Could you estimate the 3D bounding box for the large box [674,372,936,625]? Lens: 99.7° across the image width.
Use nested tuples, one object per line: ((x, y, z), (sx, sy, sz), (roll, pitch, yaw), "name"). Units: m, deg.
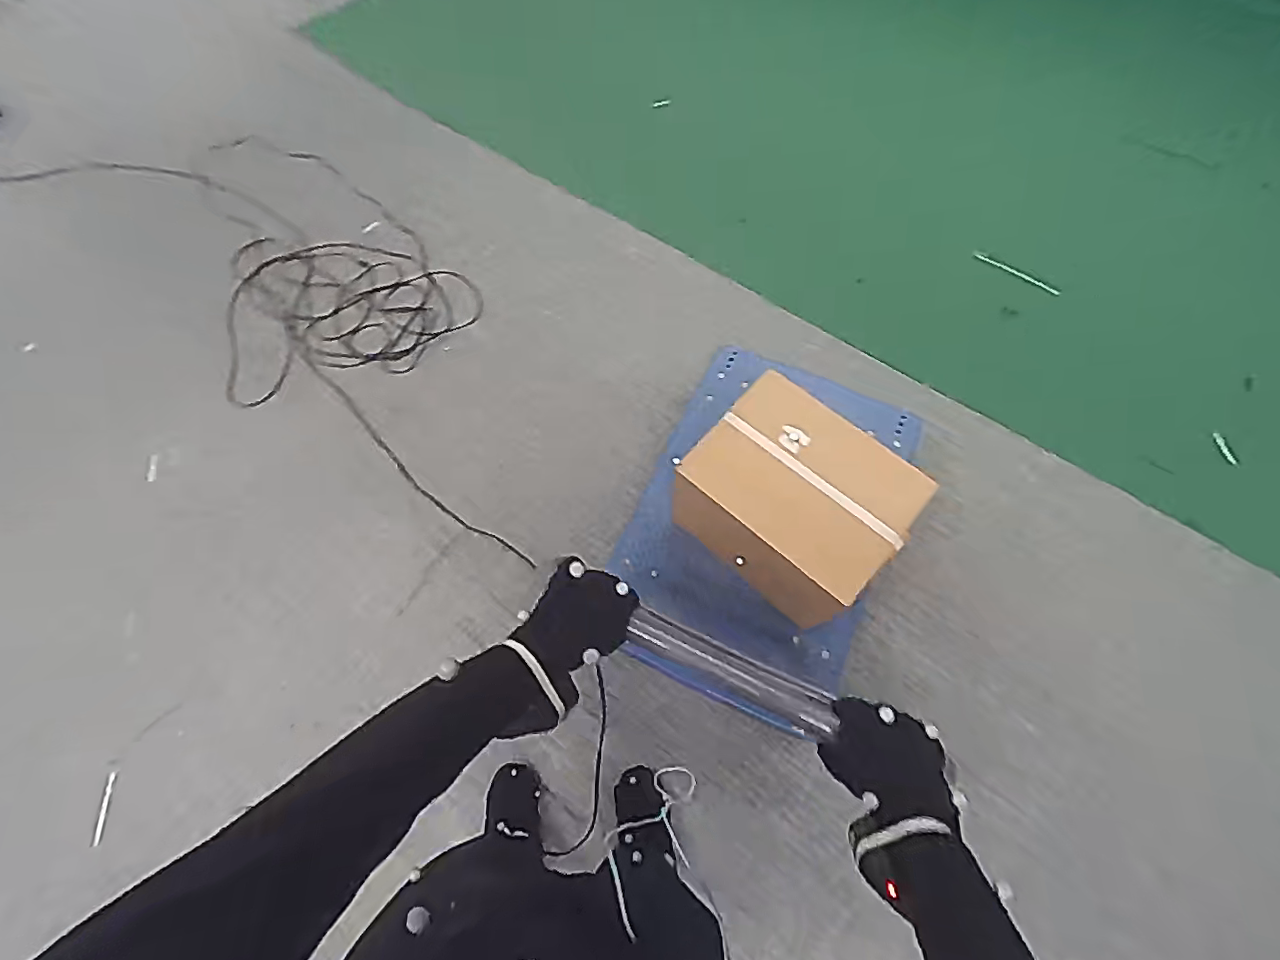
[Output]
((0.323, 0.052, 1.174), (0.408, 0.320, 0.320), (39, 74, 17), "large box")
